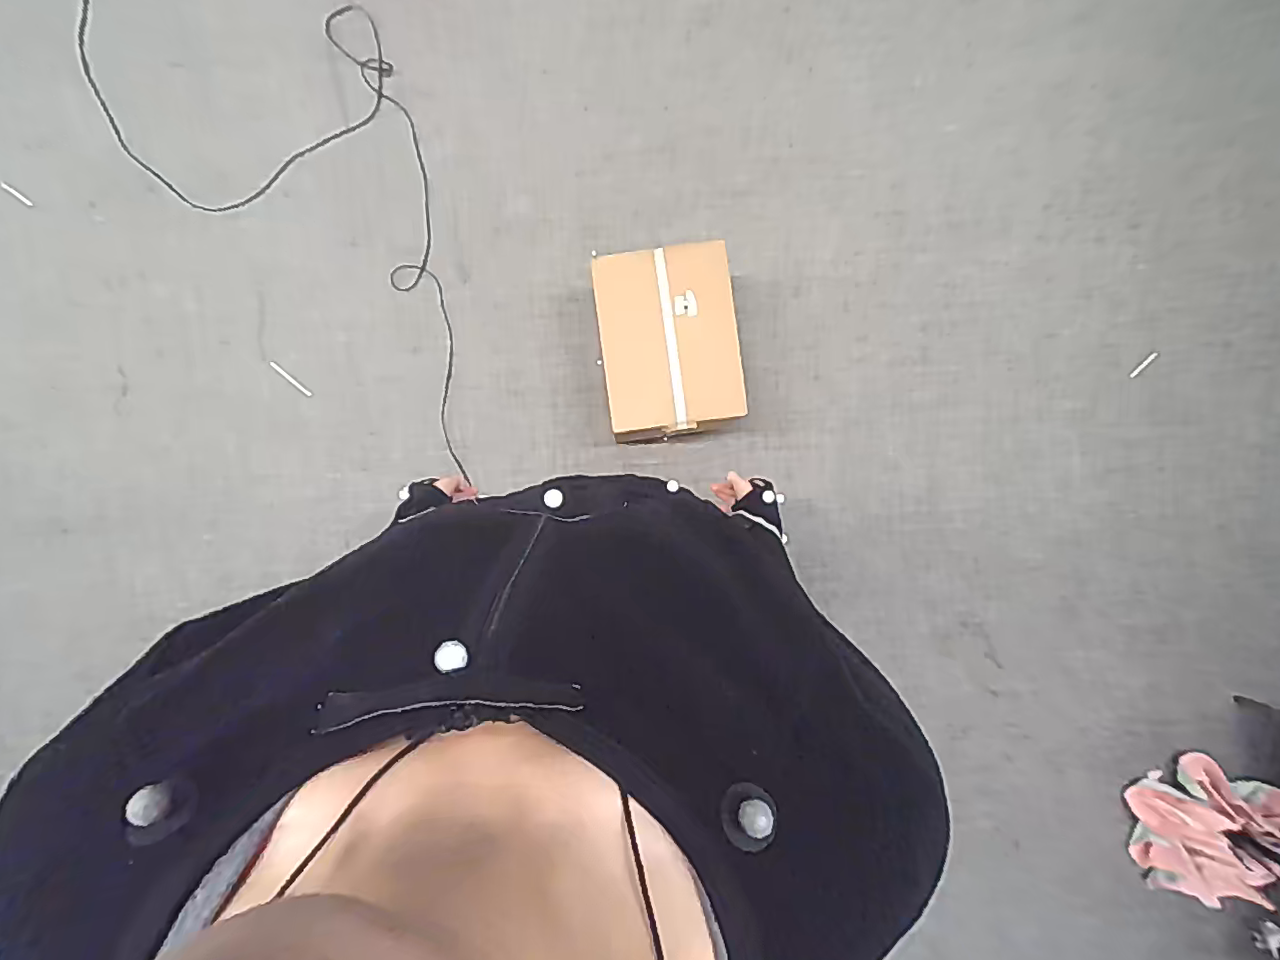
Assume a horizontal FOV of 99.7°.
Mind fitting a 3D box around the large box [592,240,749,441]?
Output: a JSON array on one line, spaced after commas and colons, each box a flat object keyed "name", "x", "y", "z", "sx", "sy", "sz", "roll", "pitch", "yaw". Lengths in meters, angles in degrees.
[{"name": "large box", "x": 0.070, "y": -0.328, "z": 1.374, "sx": 0.320, "sy": 0.320, "sz": 0.408, "roll": -8, "pitch": 89, "yaw": -2}]
